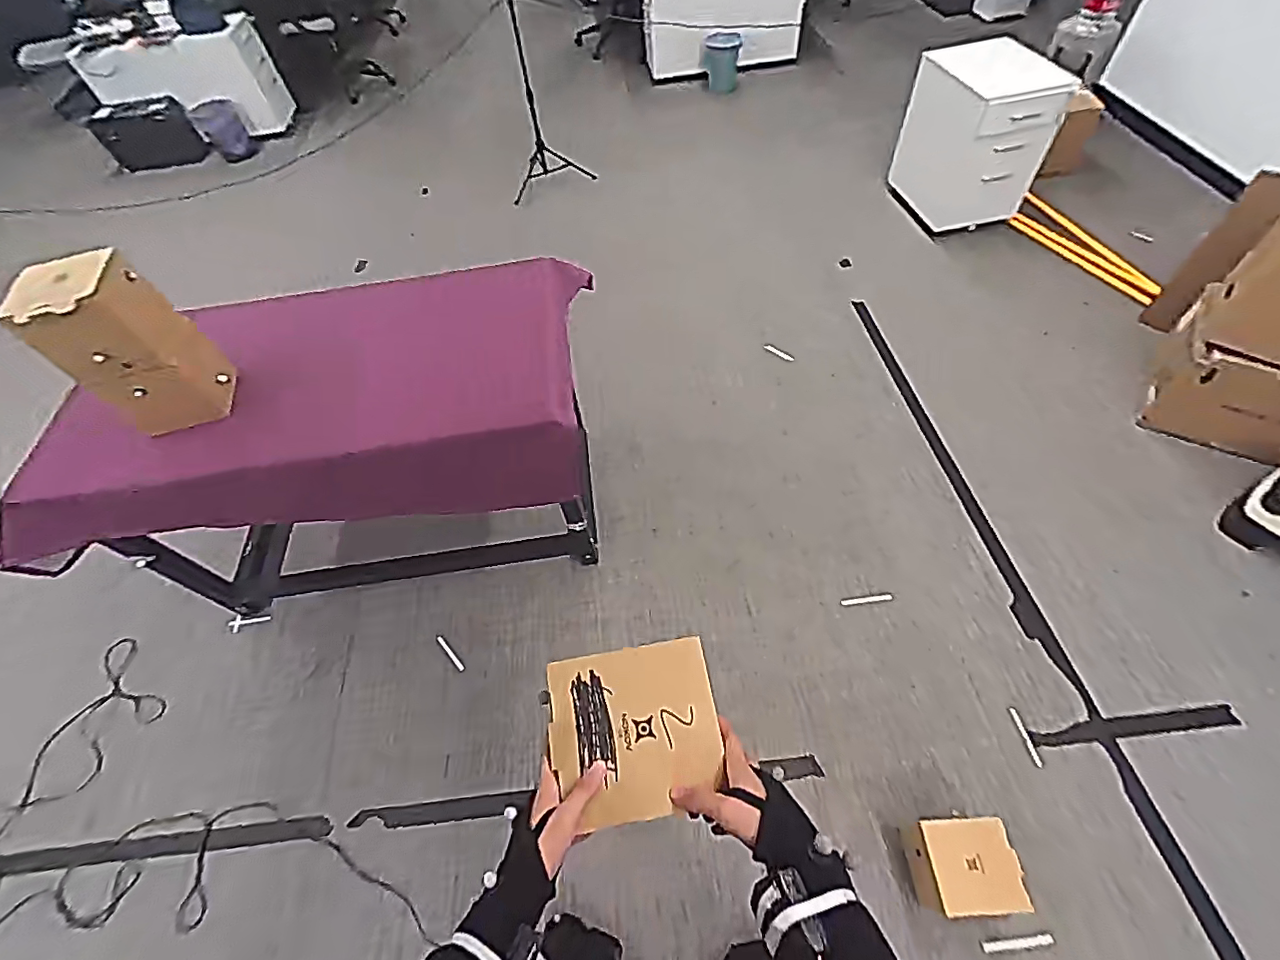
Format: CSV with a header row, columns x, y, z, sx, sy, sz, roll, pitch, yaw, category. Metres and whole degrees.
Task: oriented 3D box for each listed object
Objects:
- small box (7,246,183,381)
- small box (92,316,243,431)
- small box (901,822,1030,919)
x,y,z,sx,sy,sz,roll,pitch,yaw,category
-1.068,-0.330,1.081,0.168,0.176,0.179,-17,56,-6,small box
-1.046,-0.234,1.214,0.179,0.176,0.168,-16,56,-7,small box
0.699,0.858,1.193,0.179,0.176,0.168,-4,56,2,small box
